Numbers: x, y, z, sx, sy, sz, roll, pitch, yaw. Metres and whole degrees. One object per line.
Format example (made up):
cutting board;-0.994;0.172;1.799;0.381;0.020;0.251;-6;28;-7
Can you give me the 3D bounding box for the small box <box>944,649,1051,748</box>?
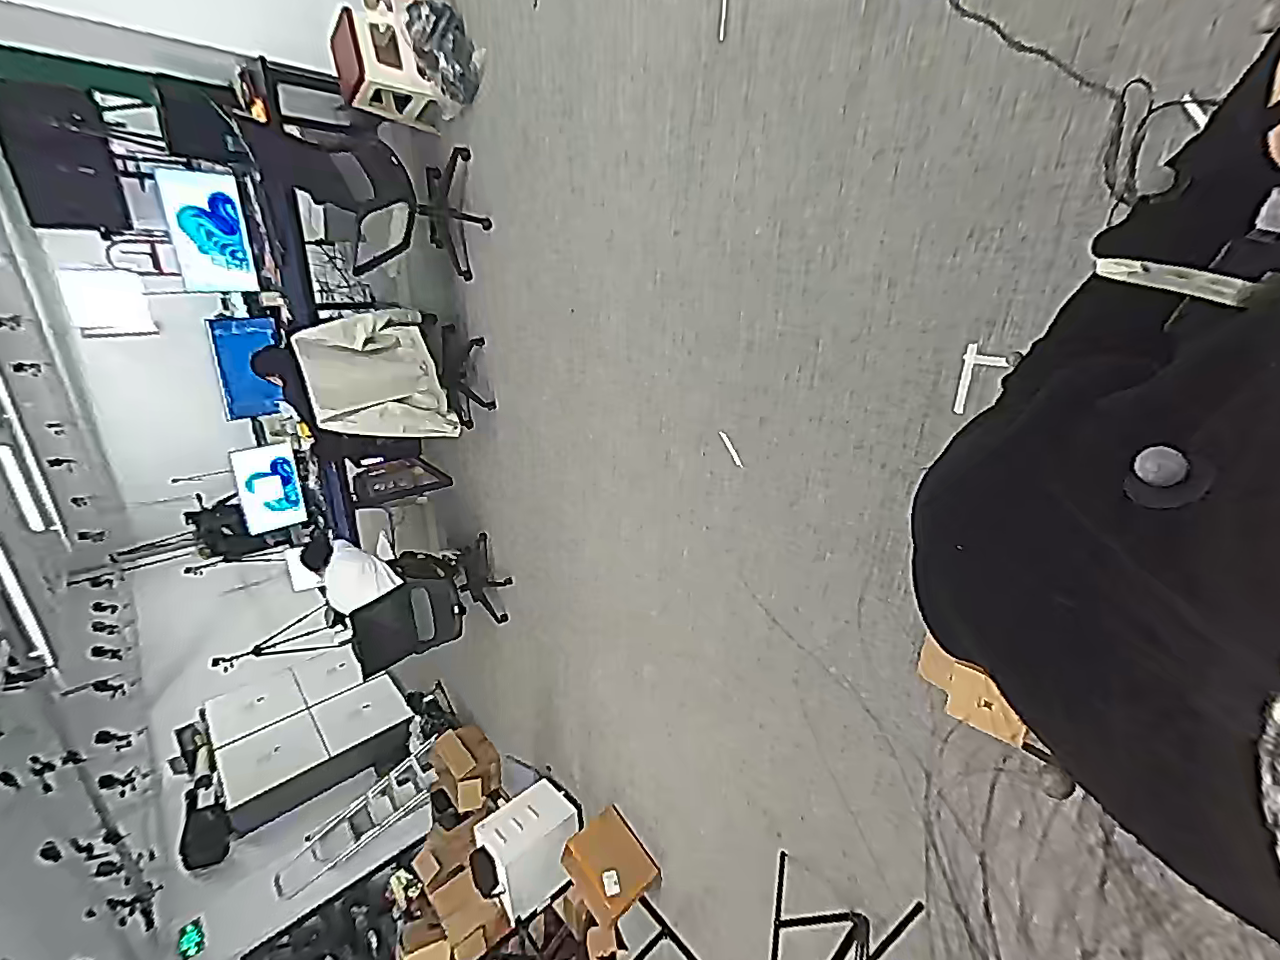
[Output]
small box;0.915;0.534;1.385;0.179;0.176;0.168;18;118;45
